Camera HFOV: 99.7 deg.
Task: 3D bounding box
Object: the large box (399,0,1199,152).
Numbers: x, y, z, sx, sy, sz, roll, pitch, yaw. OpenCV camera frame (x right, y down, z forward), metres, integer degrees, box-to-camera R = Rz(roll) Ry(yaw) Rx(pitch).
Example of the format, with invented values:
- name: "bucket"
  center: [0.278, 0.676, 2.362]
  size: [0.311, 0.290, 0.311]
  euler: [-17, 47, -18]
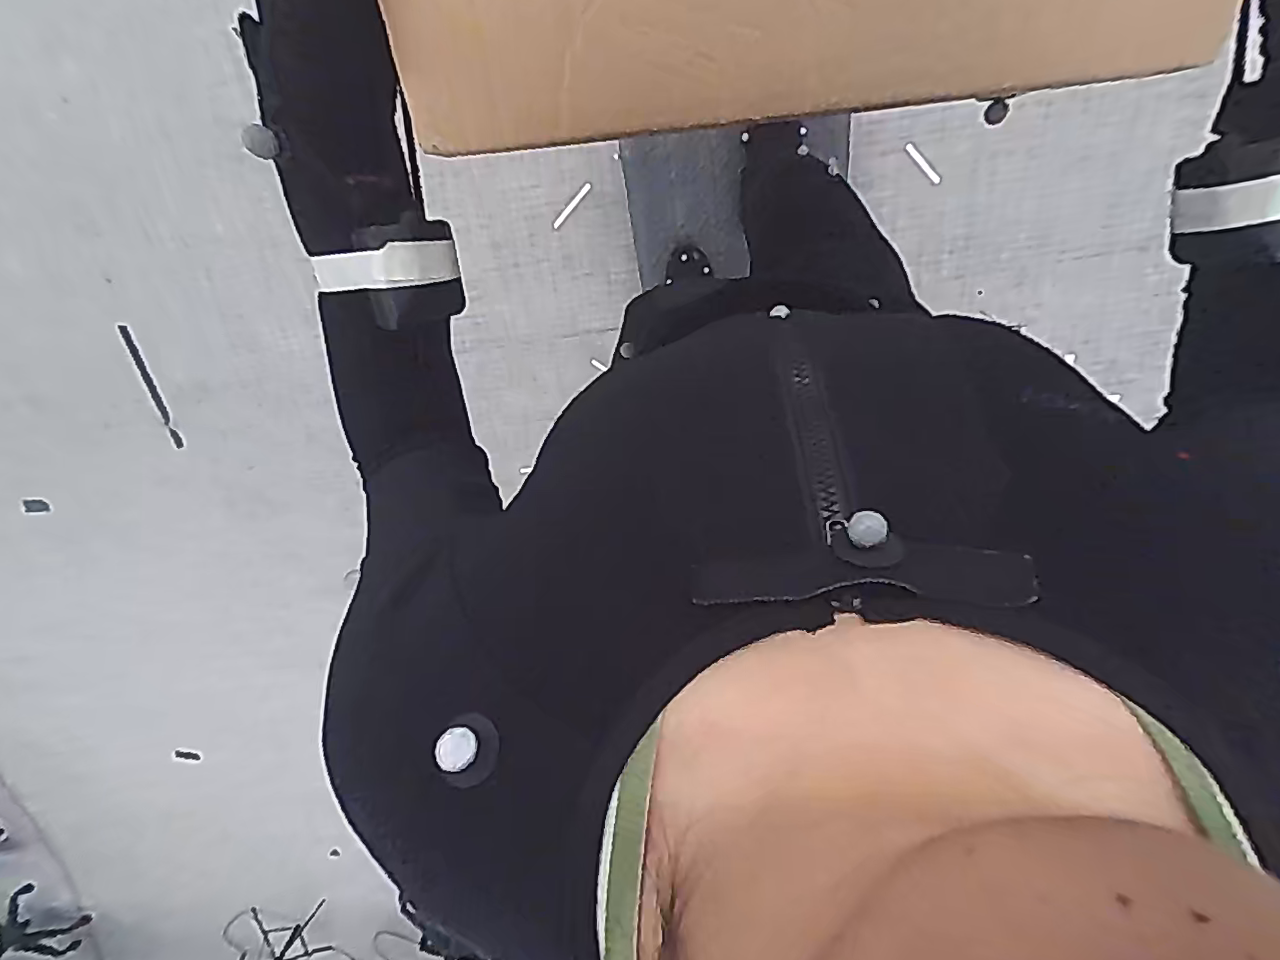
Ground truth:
- name: "large box"
  center: [0.071, -0.411, 0.331]
  size: [0.408, 0.320, 0.320]
  euler: [-4, 123, 4]
